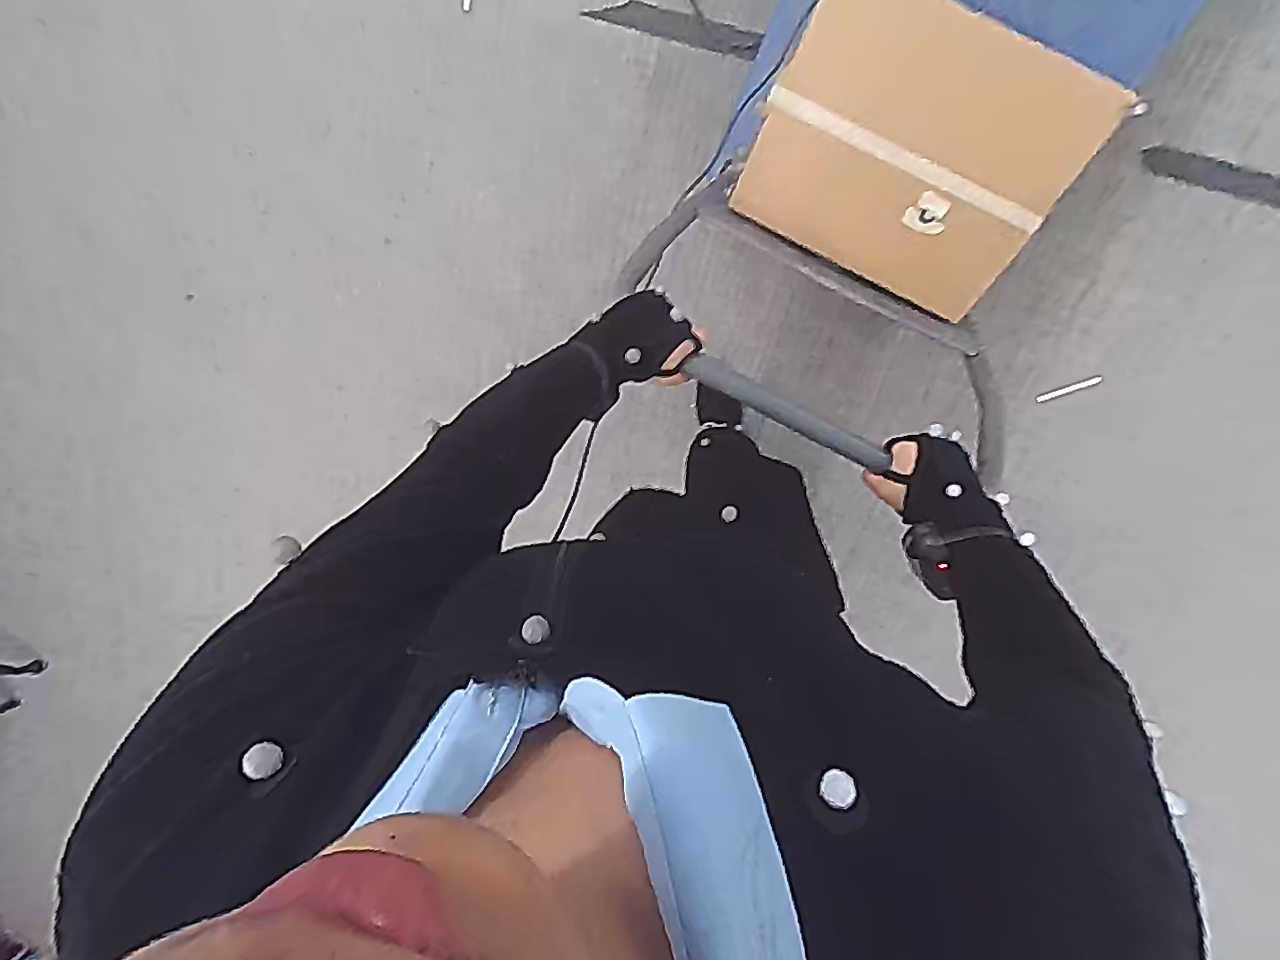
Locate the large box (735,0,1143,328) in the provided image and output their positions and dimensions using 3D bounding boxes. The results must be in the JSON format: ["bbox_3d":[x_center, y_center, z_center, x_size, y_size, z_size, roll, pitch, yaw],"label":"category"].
[{"bbox_3d":[0.412,-0.505,0.855,0.408,0.320,0.320,28,128,0],"label":"large box"}]
